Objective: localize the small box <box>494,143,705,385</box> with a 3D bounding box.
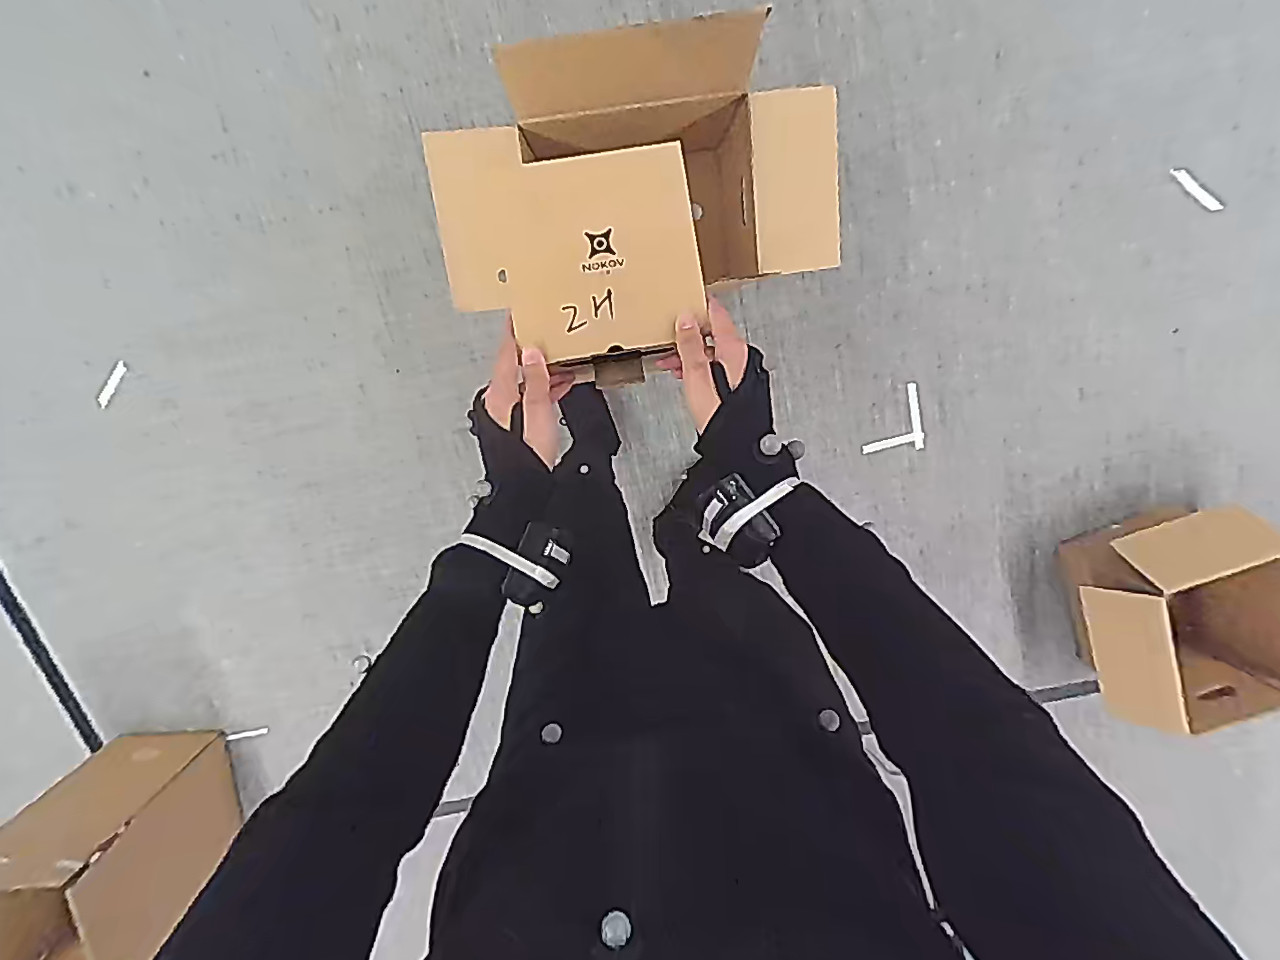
[{"bbox_3d":[-0.036,-0.200,0.547,0.168,0.176,0.179,-8,95,0],"label":"small box"}]
